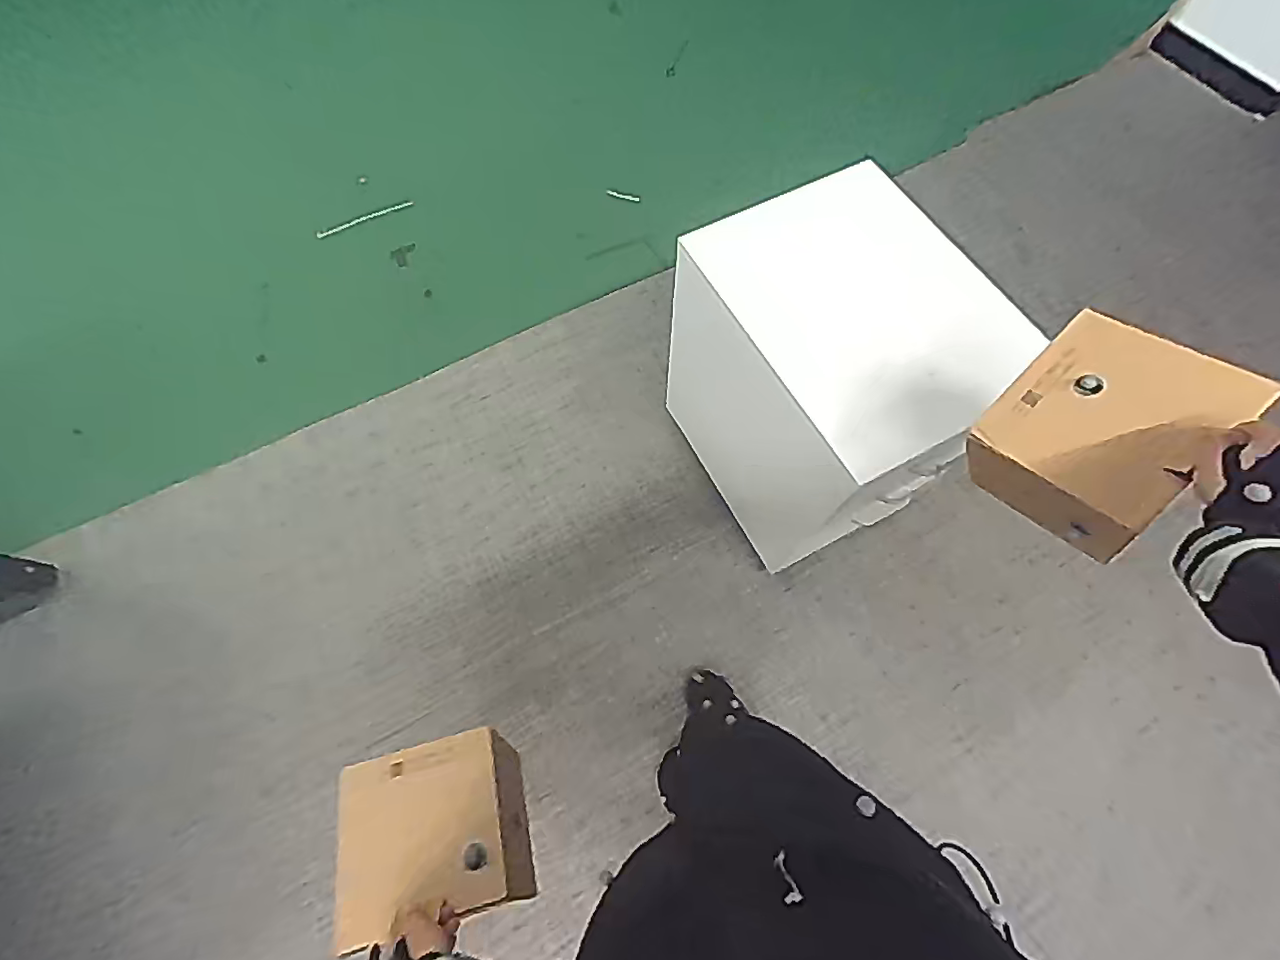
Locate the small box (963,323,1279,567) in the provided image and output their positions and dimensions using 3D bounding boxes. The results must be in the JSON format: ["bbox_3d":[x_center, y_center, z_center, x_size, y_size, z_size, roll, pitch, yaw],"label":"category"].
[{"bbox_3d":[0.472,-0.035,0.570,0.168,0.179,0.176,-50,55,8],"label":"small box"}]
